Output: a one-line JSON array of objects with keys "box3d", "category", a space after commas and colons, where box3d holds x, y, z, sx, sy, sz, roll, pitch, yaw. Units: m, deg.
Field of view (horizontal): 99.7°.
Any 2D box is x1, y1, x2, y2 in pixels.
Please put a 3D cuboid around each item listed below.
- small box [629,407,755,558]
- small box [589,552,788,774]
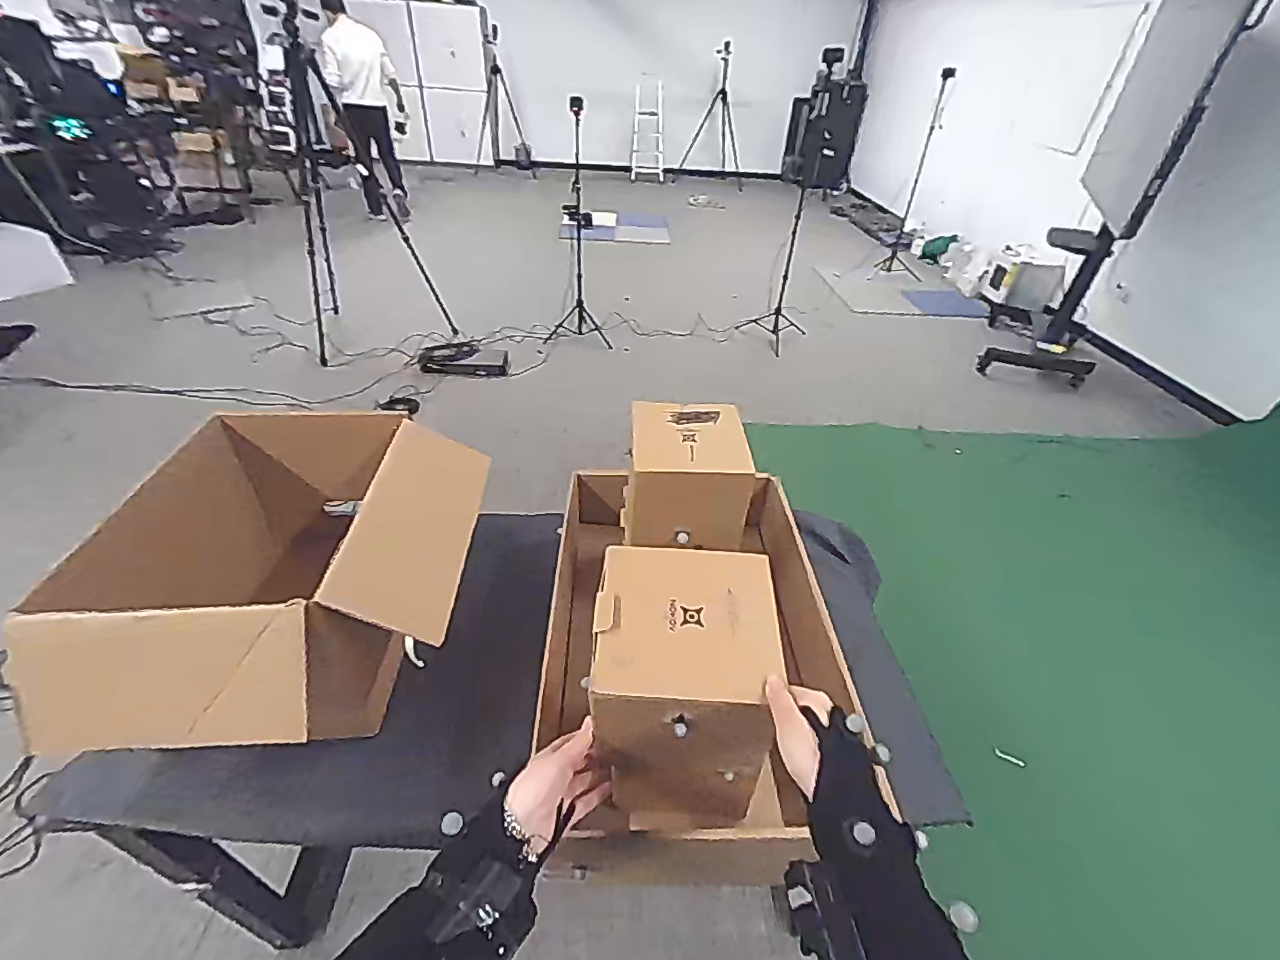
[{"box3d": [0.068, 0.006, 0.832, 0.168, 0.176, 0.179, 1, 40, -3], "category": "small box"}, {"box3d": [0.043, 0.196, 0.576, 0.179, 0.176, 0.168, 4, 45, 0], "category": "small box"}]
